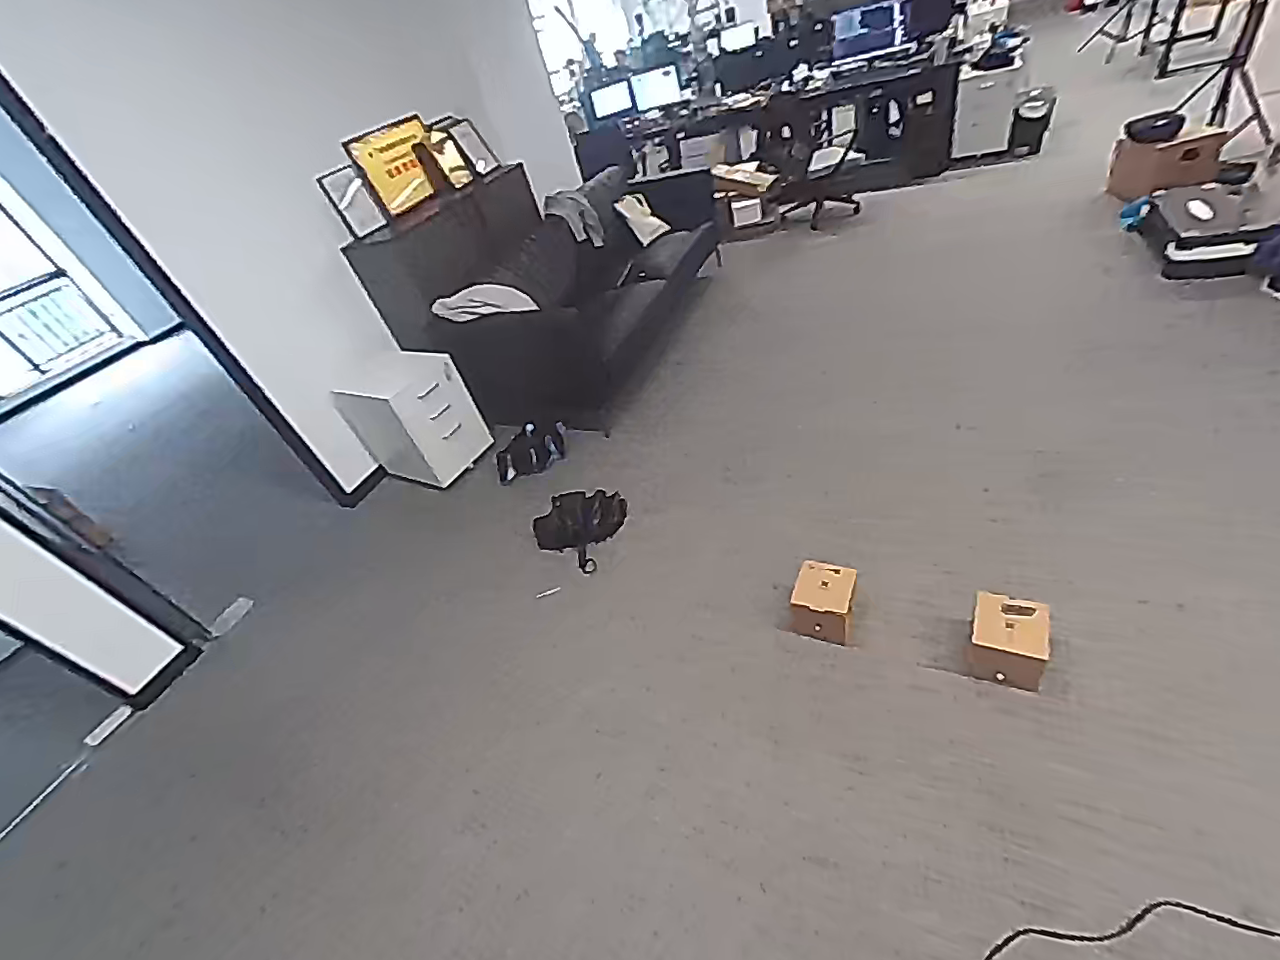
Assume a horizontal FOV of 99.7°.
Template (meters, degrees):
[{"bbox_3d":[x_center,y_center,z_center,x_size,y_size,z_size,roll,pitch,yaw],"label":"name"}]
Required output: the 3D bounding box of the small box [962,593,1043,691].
[{"bbox_3d":[0.992,0.443,1.485,0.168,0.176,0.179,7,47,31],"label":"small box"}]

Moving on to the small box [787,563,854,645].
[{"bbox_3d":[0.578,0.395,1.717,0.168,0.176,0.179,8,46,30],"label":"small box"}]
